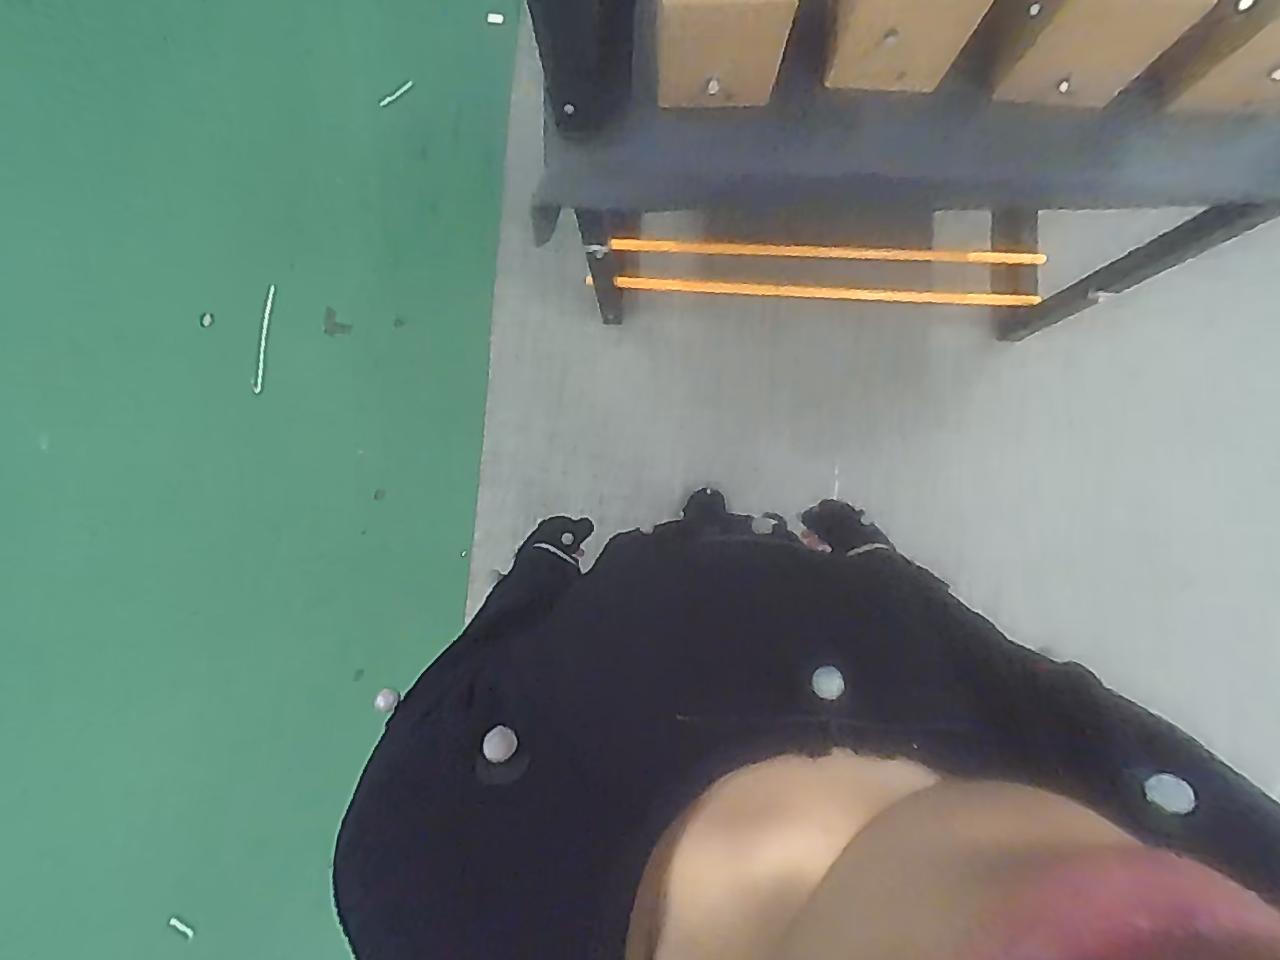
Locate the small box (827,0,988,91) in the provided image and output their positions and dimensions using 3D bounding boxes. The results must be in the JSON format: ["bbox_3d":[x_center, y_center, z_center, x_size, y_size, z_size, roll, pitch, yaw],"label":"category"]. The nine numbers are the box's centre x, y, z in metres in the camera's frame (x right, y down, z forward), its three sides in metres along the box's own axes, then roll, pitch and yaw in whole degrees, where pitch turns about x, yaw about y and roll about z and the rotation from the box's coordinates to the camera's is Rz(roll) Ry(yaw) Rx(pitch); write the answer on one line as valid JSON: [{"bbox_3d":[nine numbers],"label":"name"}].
[{"bbox_3d":[0.364,-0.675,0.739,0.168,0.176,0.179,4,85,1],"label":"small box"}]

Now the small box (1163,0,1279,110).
[{"bbox_3d":[0.855,-0.632,0.720,0.168,0.176,0.179,3,85,1],"label":"small box"}]

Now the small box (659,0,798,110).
[{"bbox_3d":[0.111,-0.652,0.741,0.168,0.176,0.179,-1,86,1],"label":"small box"}]
